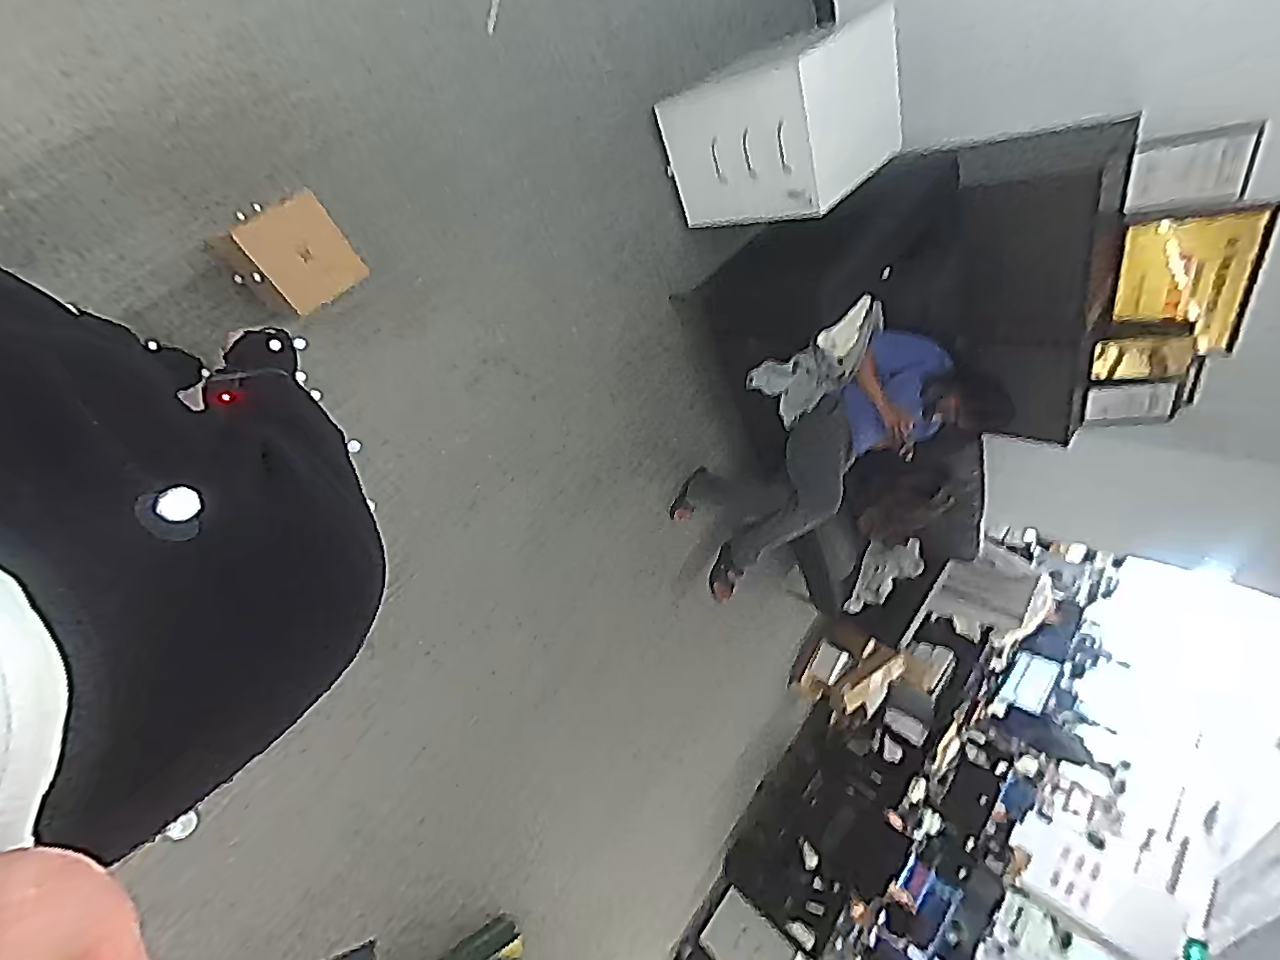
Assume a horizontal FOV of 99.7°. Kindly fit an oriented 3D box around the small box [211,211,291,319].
[{"bbox_3d":[-0.805,-0.484,1.206,0.168,0.176,0.179,-47,132,-23],"label":"small box"}]

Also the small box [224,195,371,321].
[{"bbox_3d":[-0.695,-0.443,1.094,0.168,0.176,0.179,-47,133,-21],"label":"small box"}]
